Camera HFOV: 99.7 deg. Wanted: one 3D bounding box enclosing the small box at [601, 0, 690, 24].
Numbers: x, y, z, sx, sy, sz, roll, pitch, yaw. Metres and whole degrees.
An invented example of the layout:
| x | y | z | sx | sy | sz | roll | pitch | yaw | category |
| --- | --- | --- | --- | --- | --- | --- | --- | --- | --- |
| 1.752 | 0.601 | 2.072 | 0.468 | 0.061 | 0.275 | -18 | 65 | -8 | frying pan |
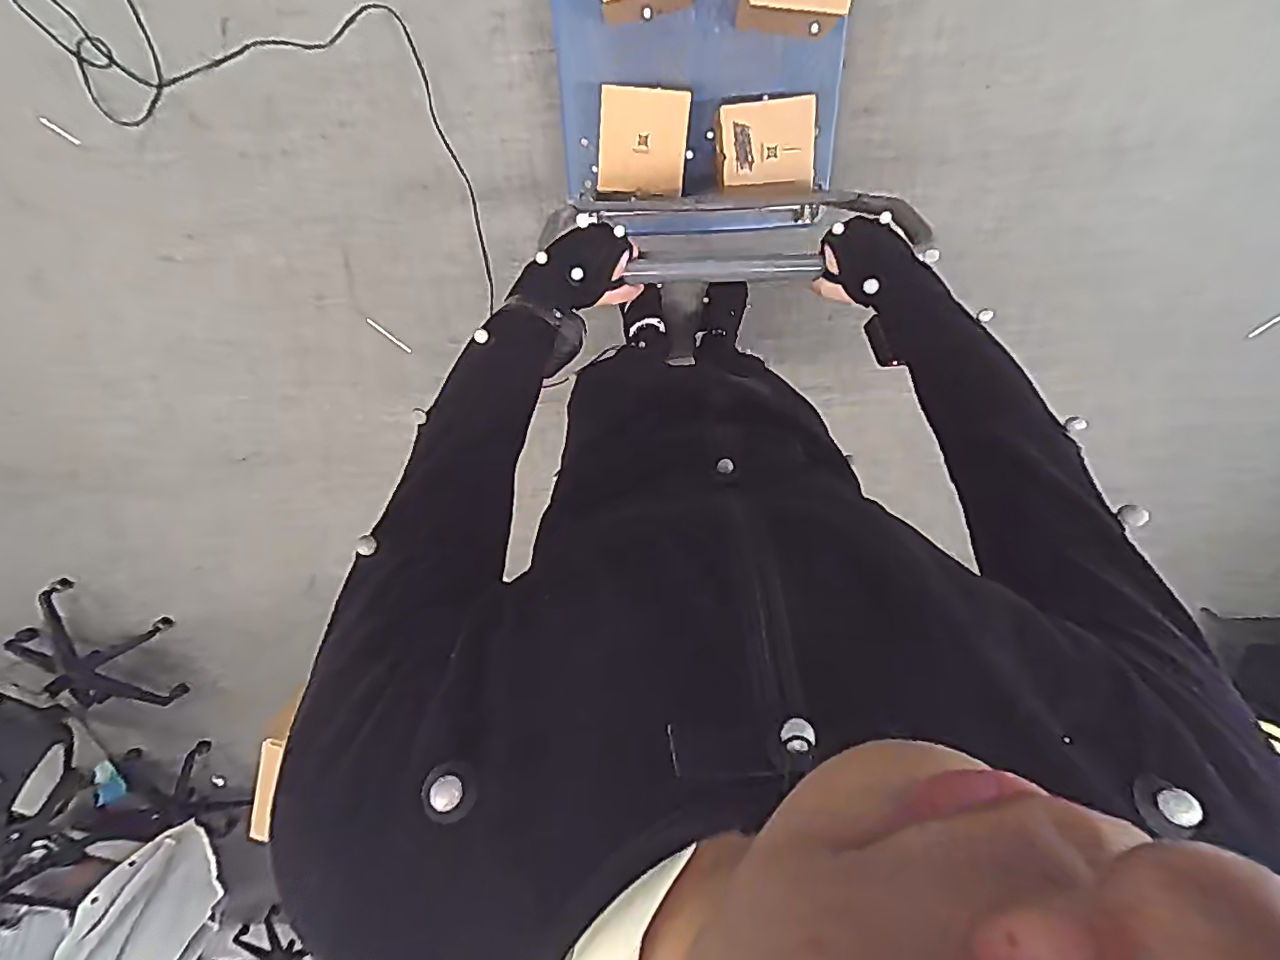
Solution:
| x | y | z | sx | sy | sz | roll | pitch | yaw | category |
| --- | --- | --- | --- | --- | --- | --- | --- | --- | --- |
| 0.002 | -0.941 | 0.952 | 0.168 | 0.176 | 0.179 | -9 | 116 | 6 | small box |

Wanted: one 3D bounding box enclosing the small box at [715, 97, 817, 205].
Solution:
| x | y | z | sx | sy | sz | roll | pitch | yaw | category |
| --- | --- | --- | --- | --- | --- | --- | --- | --- | --- |
| 0.244 | -0.653 | 1.090 | 0.179 | 0.176 | 0.168 | -4 | 117 | 4 | small box |

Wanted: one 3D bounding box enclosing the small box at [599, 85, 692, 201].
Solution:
| x | y | z | sx | sy | sz | roll | pitch | yaw | category |
| --- | --- | --- | --- | --- | --- | --- | --- | --- | --- |
| 0.007 | -0.670 | 1.091 | 0.168 | 0.176 | 0.179 | 5 | 118 | -1 | small box |
